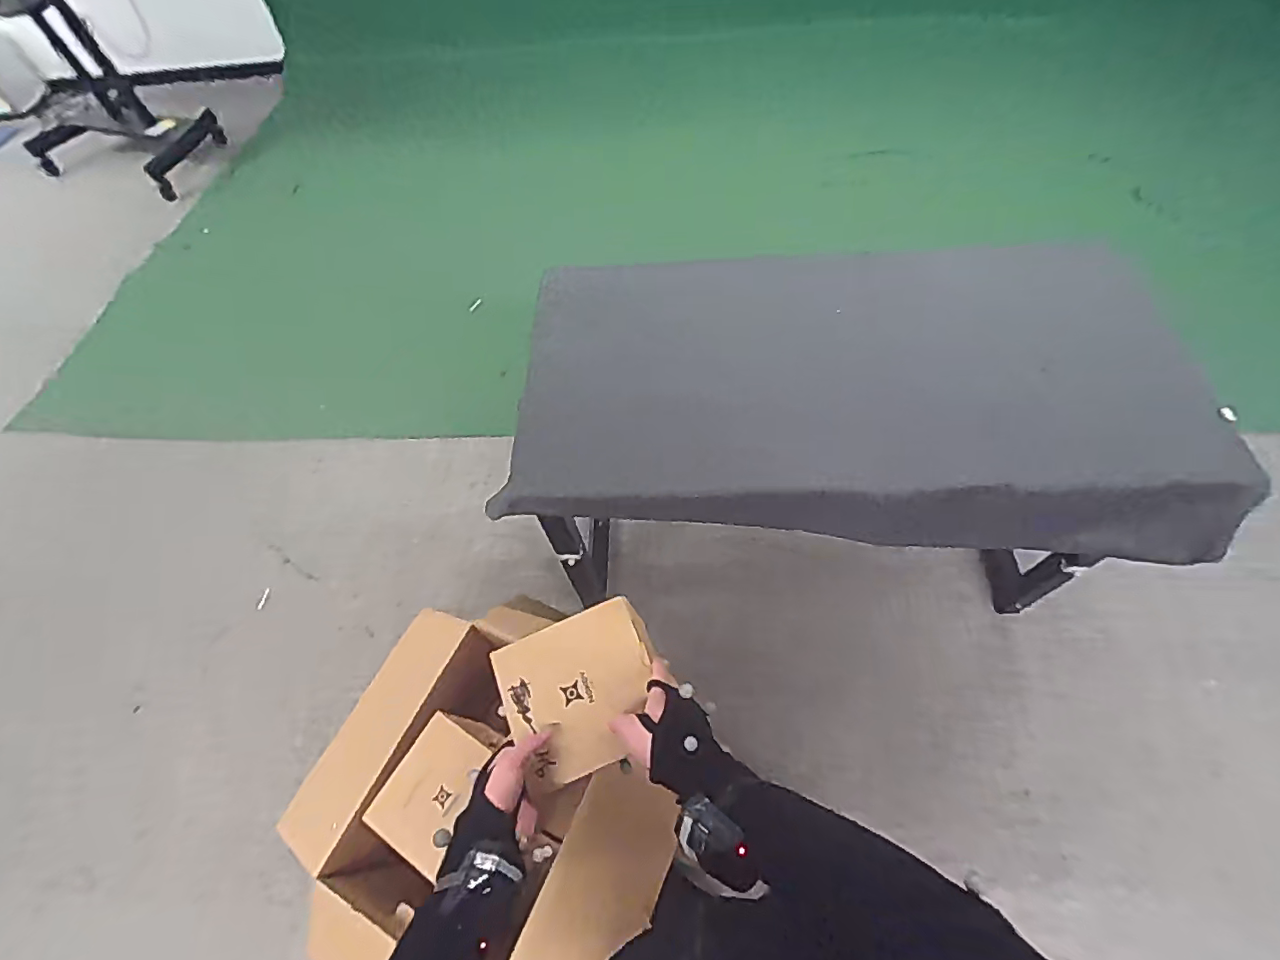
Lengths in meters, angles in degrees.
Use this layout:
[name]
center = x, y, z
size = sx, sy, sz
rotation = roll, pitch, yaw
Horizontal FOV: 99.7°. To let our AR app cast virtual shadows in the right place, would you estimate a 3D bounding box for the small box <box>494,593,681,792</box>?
[small box]
center = -0.057, 0.264, 0.681
size = 0.179, 0.176, 0.168
rotation = -22, 65, -3
